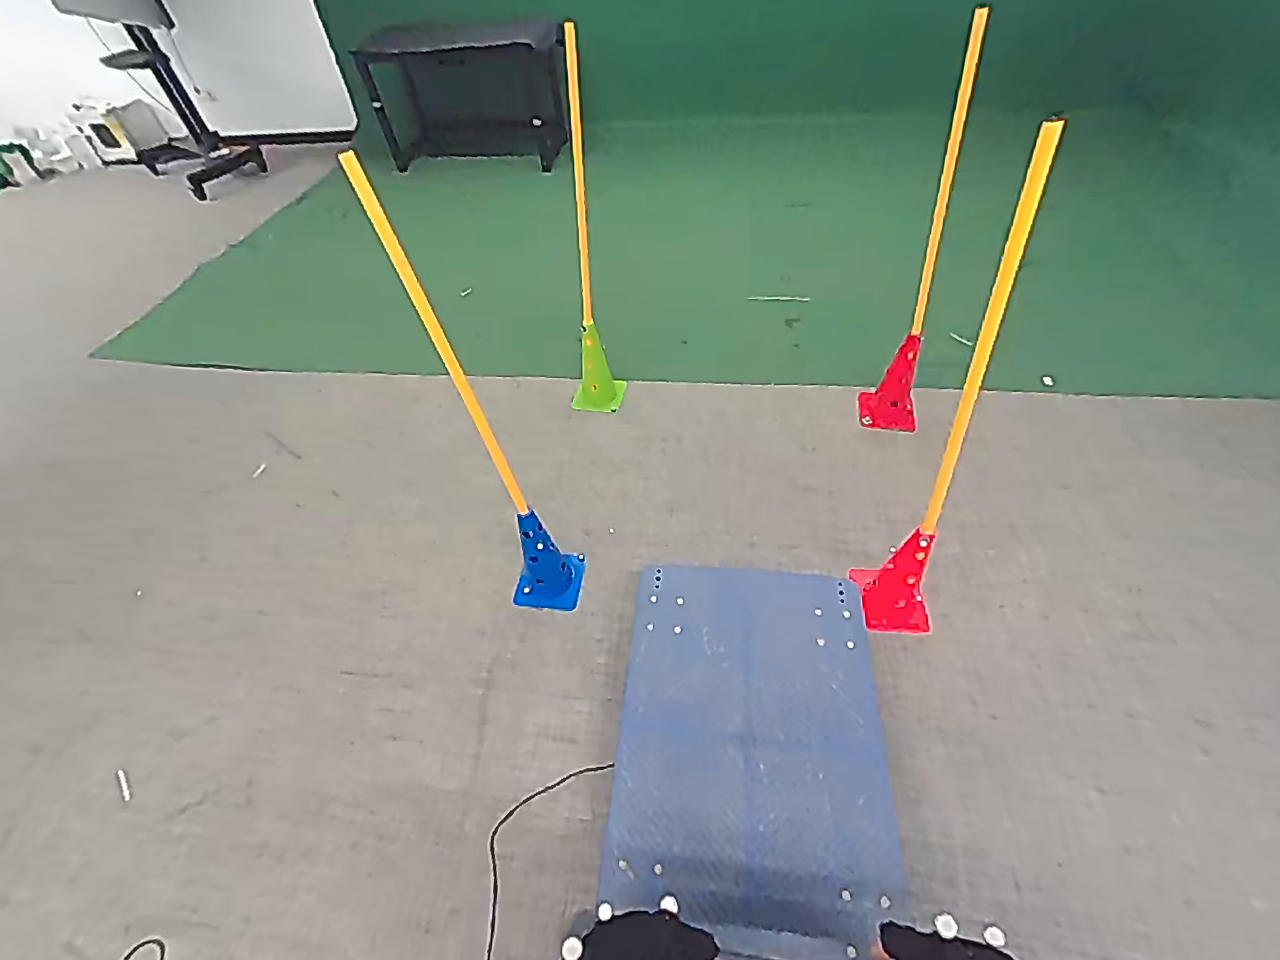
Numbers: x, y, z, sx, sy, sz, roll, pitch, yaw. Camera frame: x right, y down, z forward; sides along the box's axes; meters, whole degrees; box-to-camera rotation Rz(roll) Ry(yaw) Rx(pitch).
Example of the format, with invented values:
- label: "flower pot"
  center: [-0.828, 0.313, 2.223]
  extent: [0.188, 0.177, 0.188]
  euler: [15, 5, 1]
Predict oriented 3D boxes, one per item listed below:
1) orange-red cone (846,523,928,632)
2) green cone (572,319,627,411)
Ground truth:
- label: "orange-red cone"
  center: [0.702, 0.238, 1.459]
  extent: [0.199, 0.360, 0.198]
  euler: [2, 49, 9]
- label: "green cone"
  center: [-0.182, -0.472, 2.136]
  extent: [0.202, 0.368, 0.200]
  euler: [6, 50, 11]
